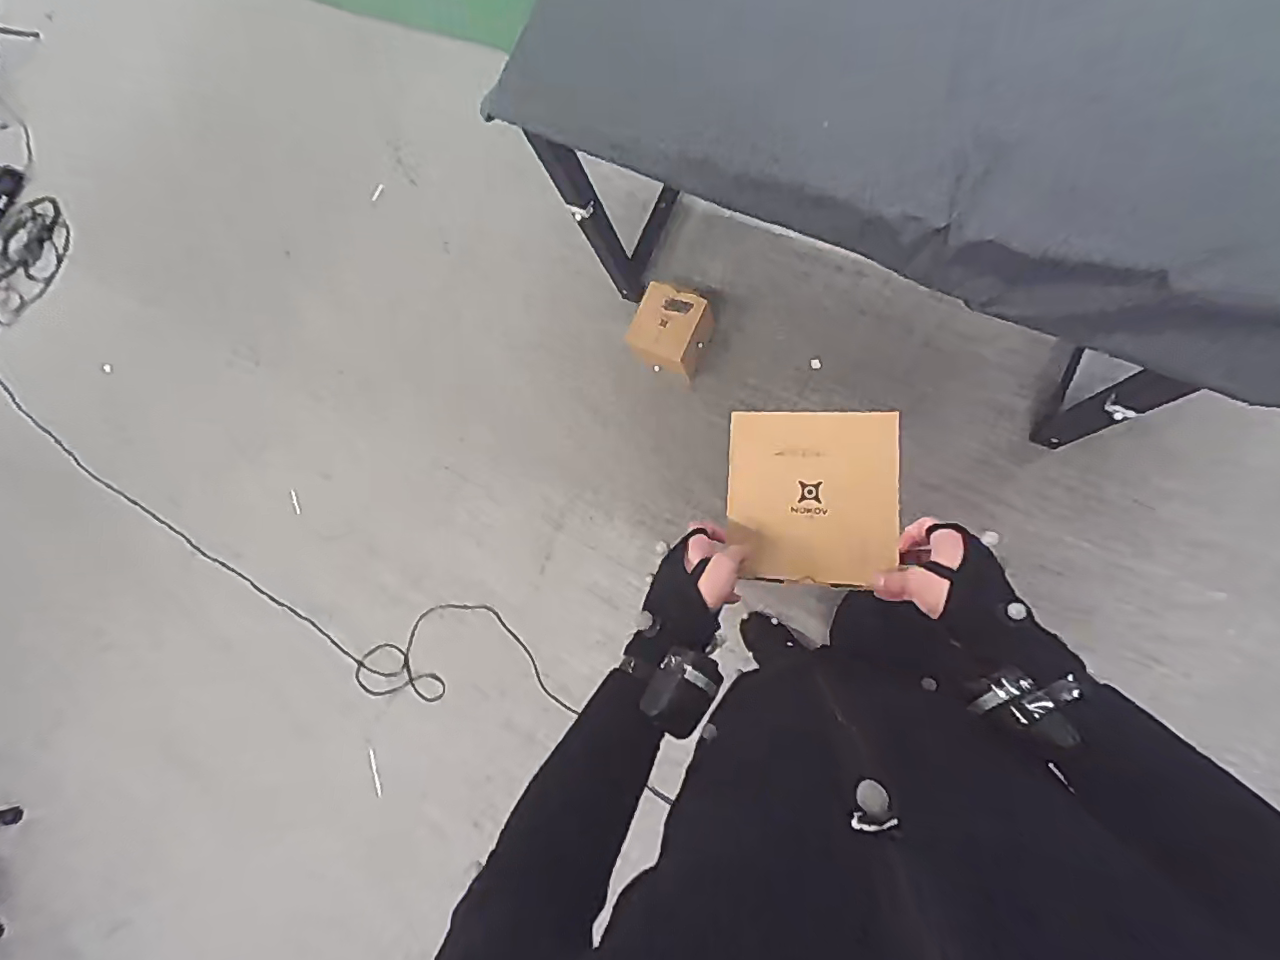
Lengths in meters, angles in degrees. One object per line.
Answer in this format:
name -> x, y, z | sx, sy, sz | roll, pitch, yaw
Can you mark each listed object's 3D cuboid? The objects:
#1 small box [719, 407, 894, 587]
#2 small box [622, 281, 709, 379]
small box -> 0.181, 0.024, 0.610 | 0.168, 0.176, 0.179 | 1, 81, 13
small box -> 0.076, -0.396, 1.451 | 0.168, 0.176, 0.179 | 24, 90, 16
